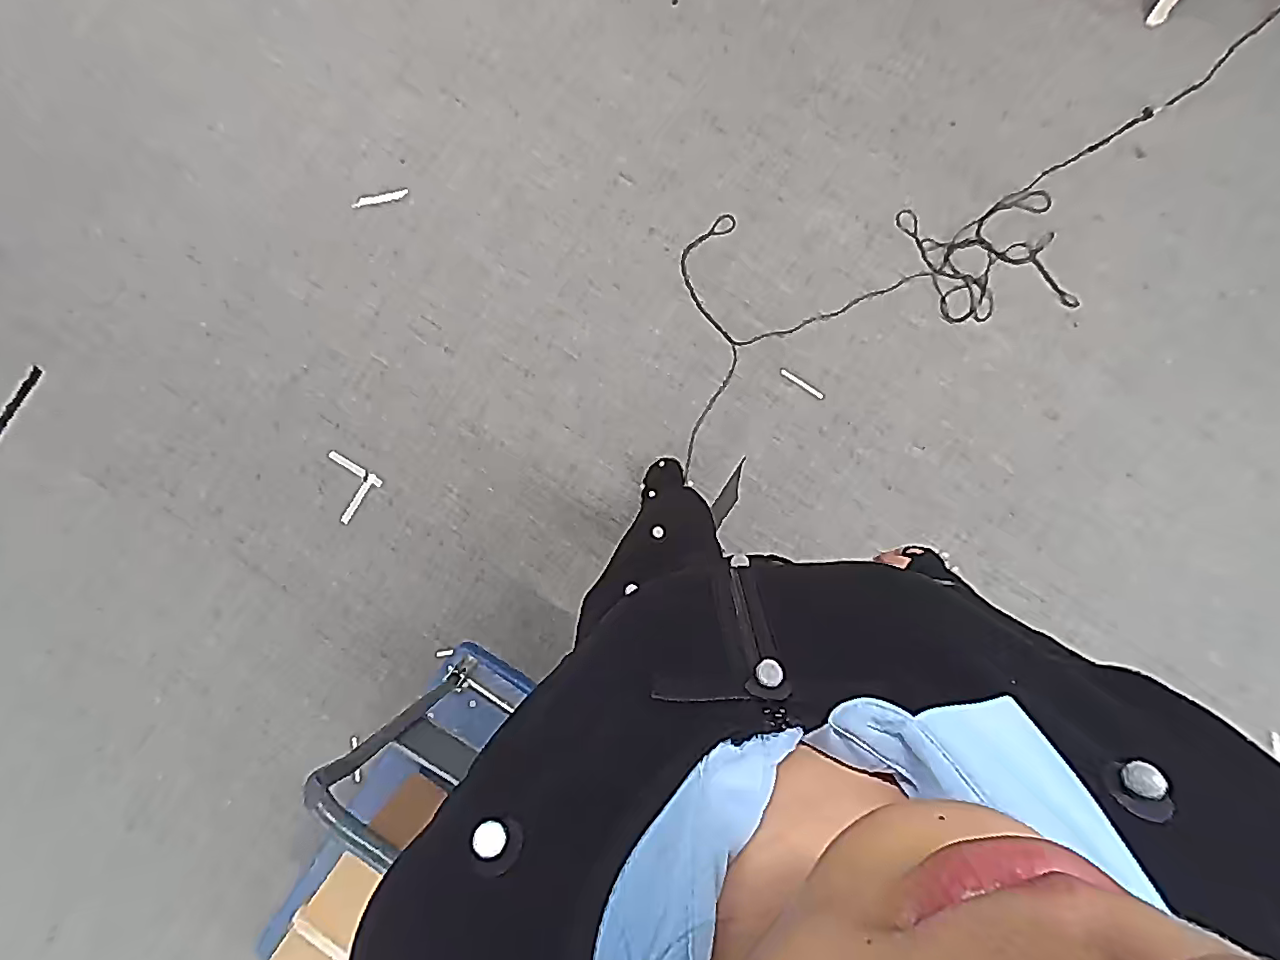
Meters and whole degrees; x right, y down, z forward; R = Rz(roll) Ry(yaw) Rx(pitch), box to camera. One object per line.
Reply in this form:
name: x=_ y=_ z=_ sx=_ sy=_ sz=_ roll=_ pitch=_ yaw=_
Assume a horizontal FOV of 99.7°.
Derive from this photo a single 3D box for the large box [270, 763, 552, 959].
large box: x=-0.453 y=0.902 z=1.148 sx=0.408 sy=0.320 sz=0.320 roll=35 pitch=88 yaw=2
